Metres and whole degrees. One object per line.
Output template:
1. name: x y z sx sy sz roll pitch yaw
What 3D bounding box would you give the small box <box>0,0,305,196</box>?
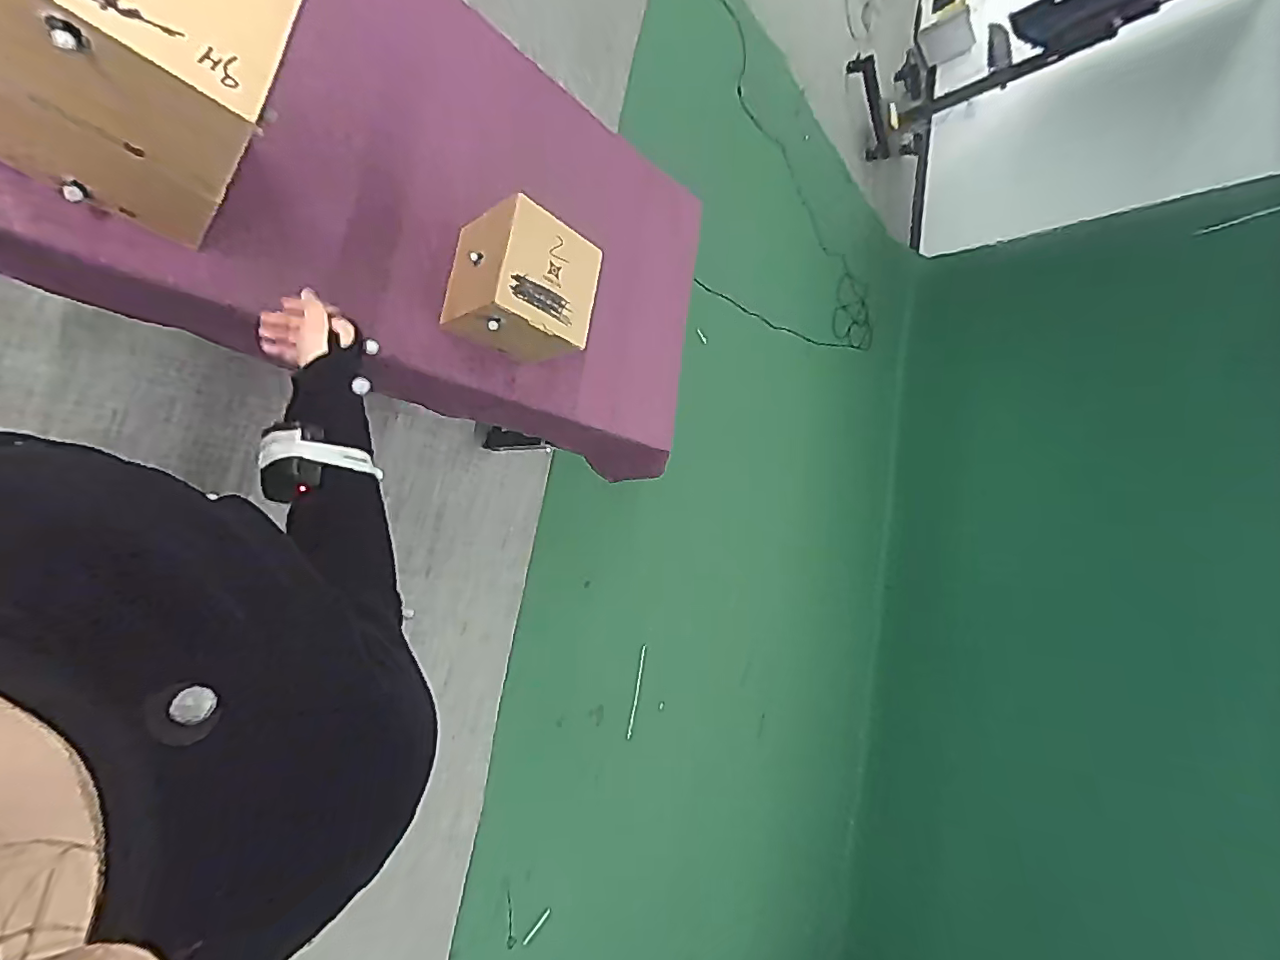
1. small box: -0.384 -0.369 0.422 0.168 0.176 0.179 21 75 -42

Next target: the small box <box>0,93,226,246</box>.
1. small box: -0.501 -0.371 0.539 0.168 0.176 0.179 21 76 -43
